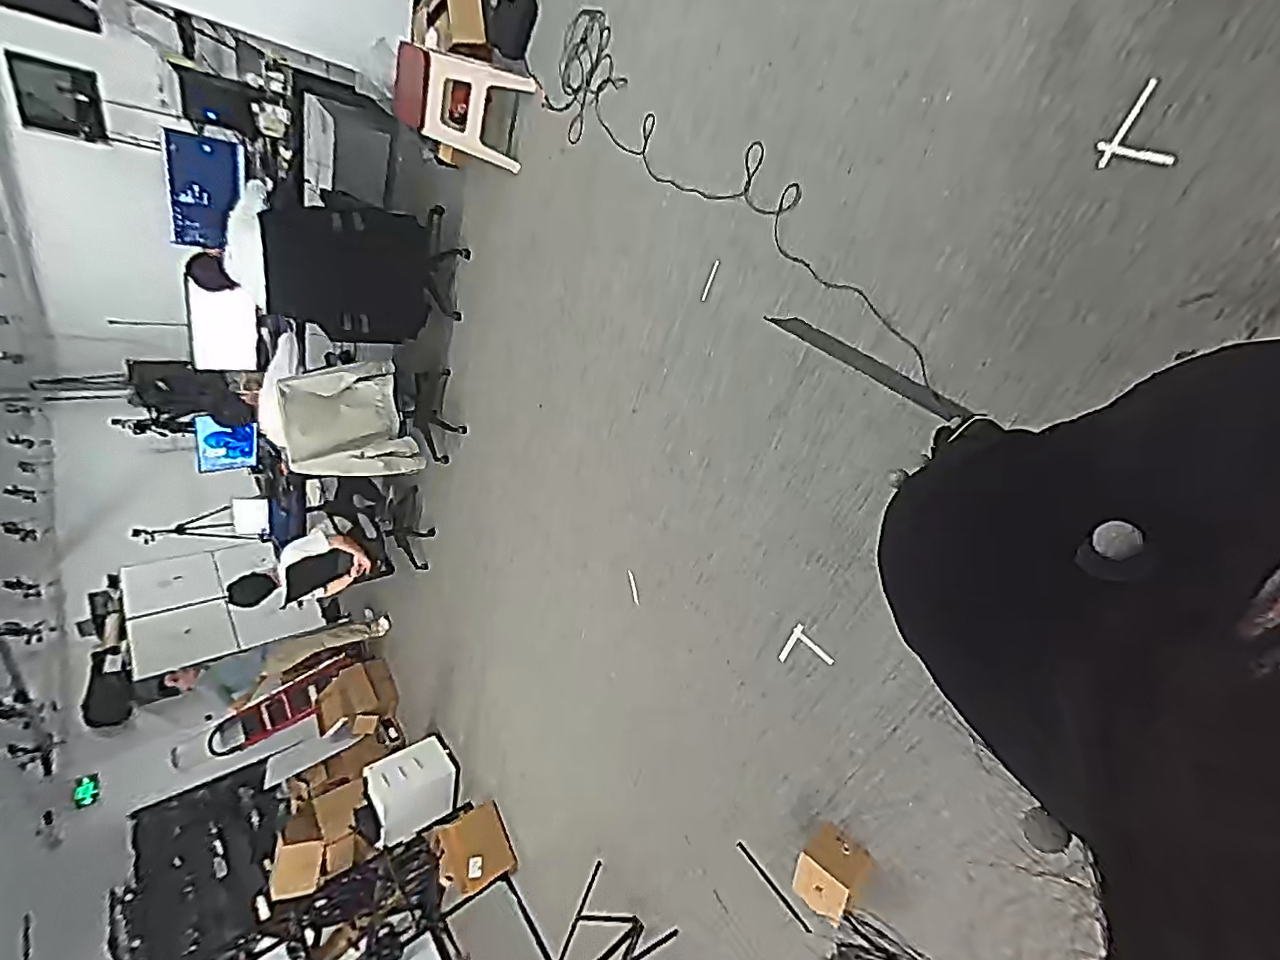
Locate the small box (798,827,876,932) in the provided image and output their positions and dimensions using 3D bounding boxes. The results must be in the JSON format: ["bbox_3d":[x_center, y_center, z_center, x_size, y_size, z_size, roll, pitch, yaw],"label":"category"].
[{"bbox_3d":[0.642,1.287,1.753,0.168,0.176,0.179,22,113,42],"label":"small box"}]
